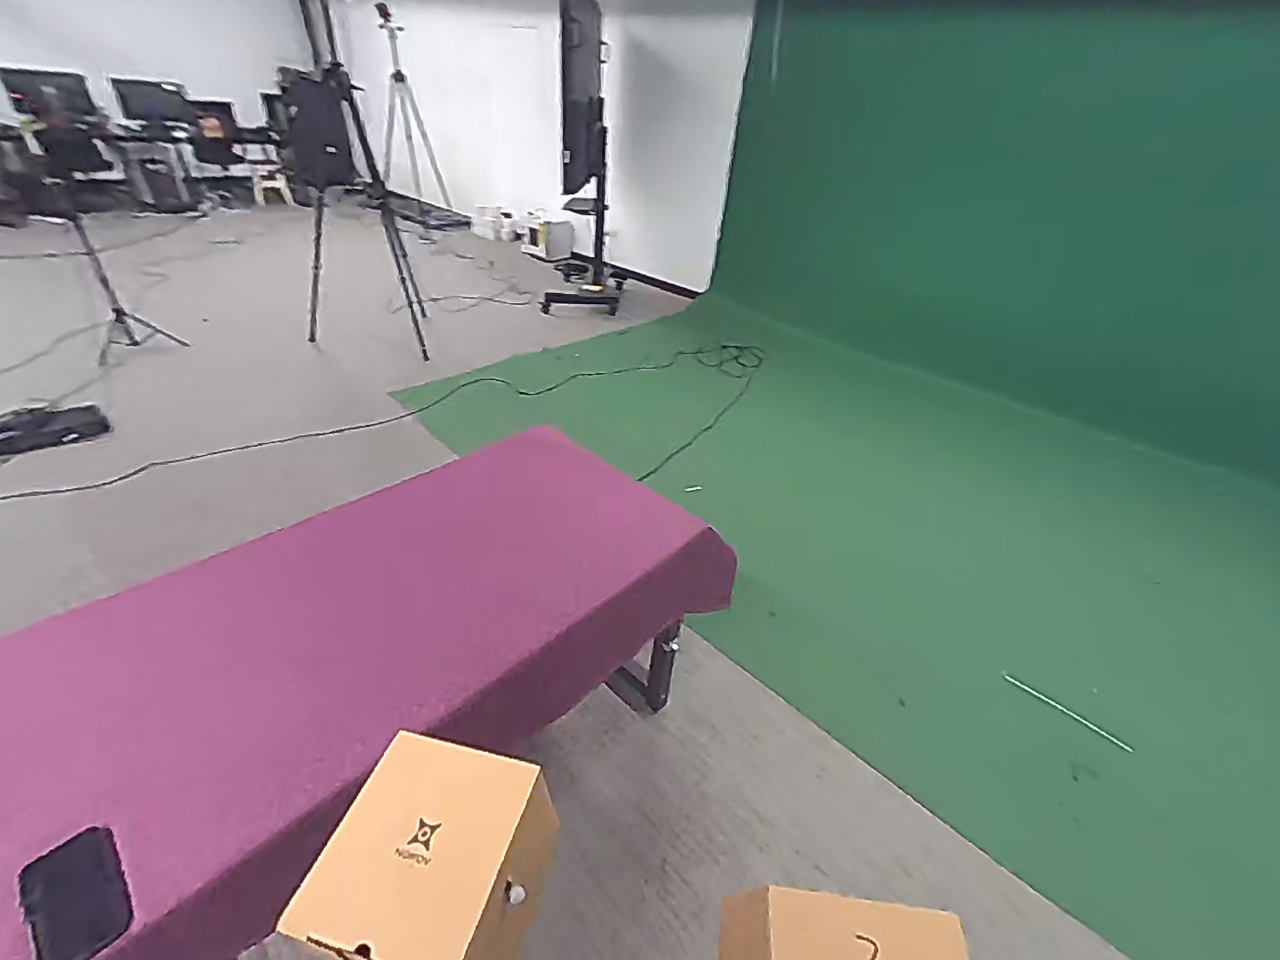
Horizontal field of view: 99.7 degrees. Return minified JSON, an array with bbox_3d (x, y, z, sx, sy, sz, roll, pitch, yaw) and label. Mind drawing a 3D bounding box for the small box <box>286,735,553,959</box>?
[{"bbox_3d":[-0.196,0.398,0.545,0.168,0.176,0.179,7,38,13],"label":"small box"}]
